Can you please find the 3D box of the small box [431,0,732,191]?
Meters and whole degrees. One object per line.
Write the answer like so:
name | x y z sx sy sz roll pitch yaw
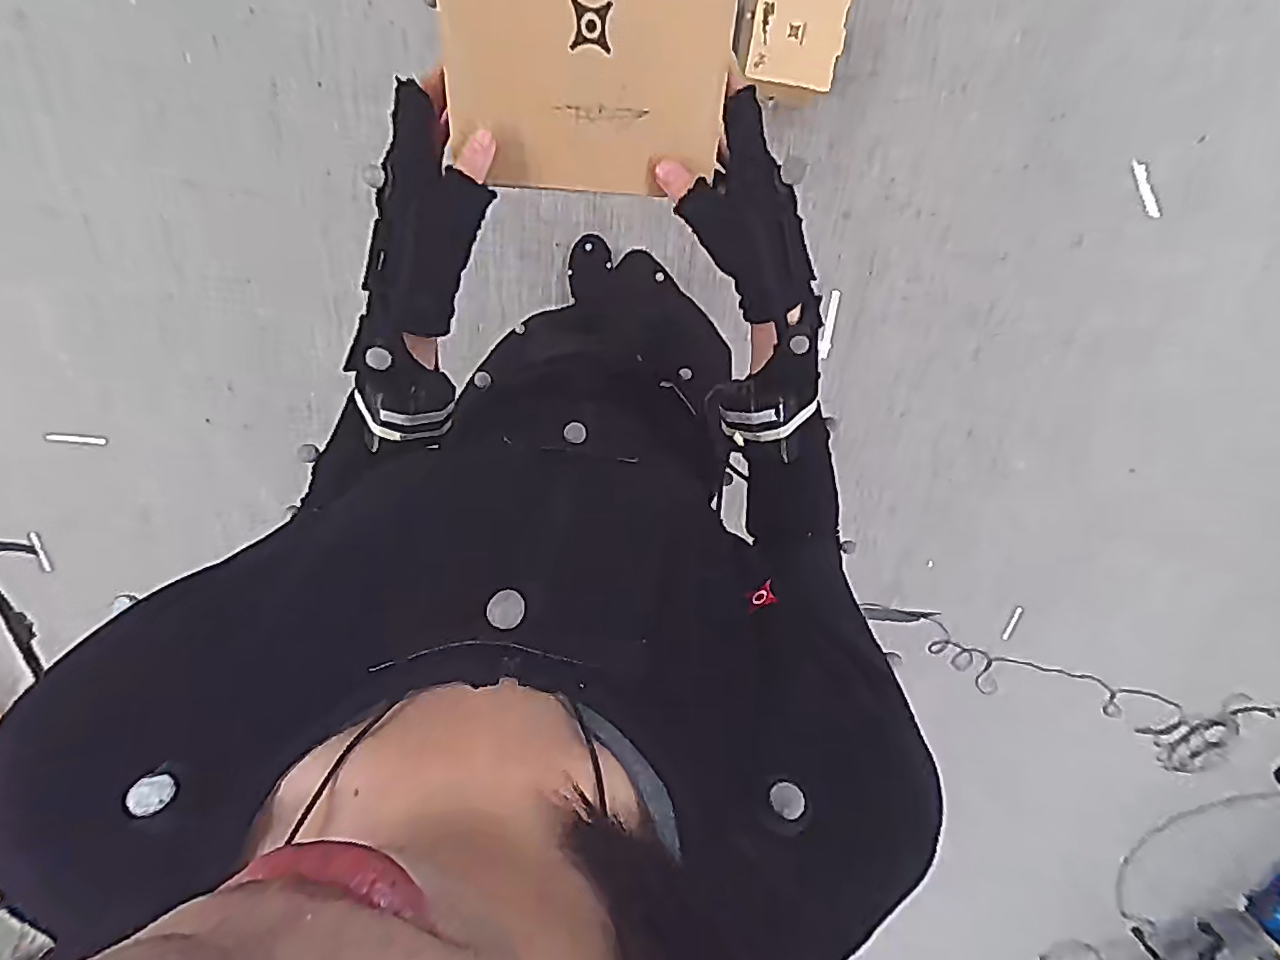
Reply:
small box | -0.041 -0.306 0.355 0.168 0.176 0.179 0 127 -9

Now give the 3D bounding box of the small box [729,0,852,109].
small box | 0.295 -0.876 1.100 0.179 0.176 0.168 7 115 -6
